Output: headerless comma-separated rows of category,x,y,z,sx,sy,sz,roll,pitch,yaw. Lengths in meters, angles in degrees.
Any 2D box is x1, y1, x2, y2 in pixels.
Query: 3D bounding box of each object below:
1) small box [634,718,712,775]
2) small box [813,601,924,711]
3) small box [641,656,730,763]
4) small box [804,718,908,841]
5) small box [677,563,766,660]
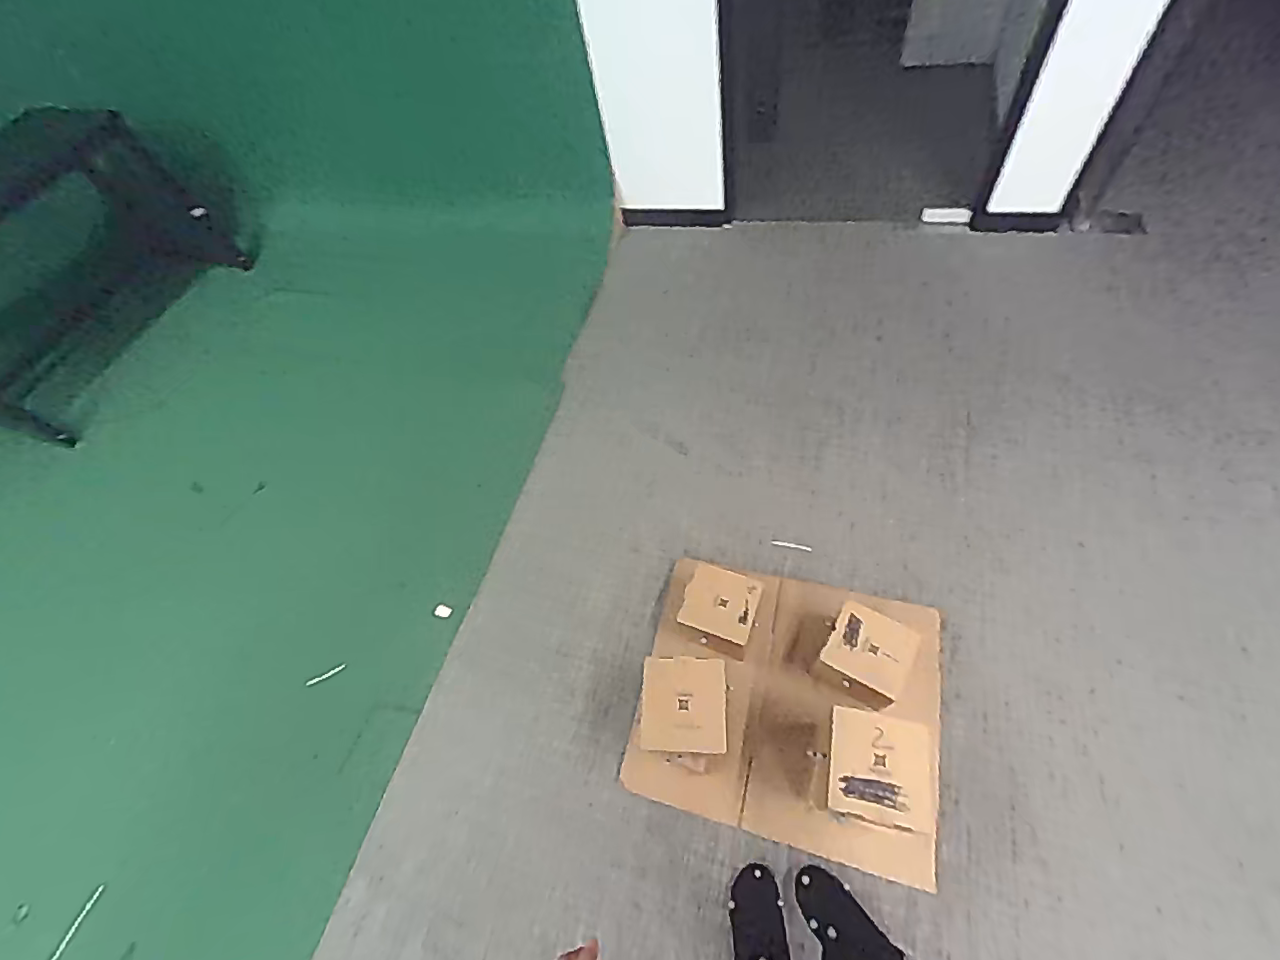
small box,0.103,0.567,1.258,0.168,0.176,0.179,15,63,17
small box,0.525,0.418,1.266,0.179,0.176,0.168,26,67,22
small box,0.100,0.477,1.118,0.168,0.176,0.179,-1,59,10
small box,0.451,0.635,1.150,0.168,0.176,0.179,14,62,18
small box,0.211,0.340,1.374,0.179,0.176,0.168,16,63,20
